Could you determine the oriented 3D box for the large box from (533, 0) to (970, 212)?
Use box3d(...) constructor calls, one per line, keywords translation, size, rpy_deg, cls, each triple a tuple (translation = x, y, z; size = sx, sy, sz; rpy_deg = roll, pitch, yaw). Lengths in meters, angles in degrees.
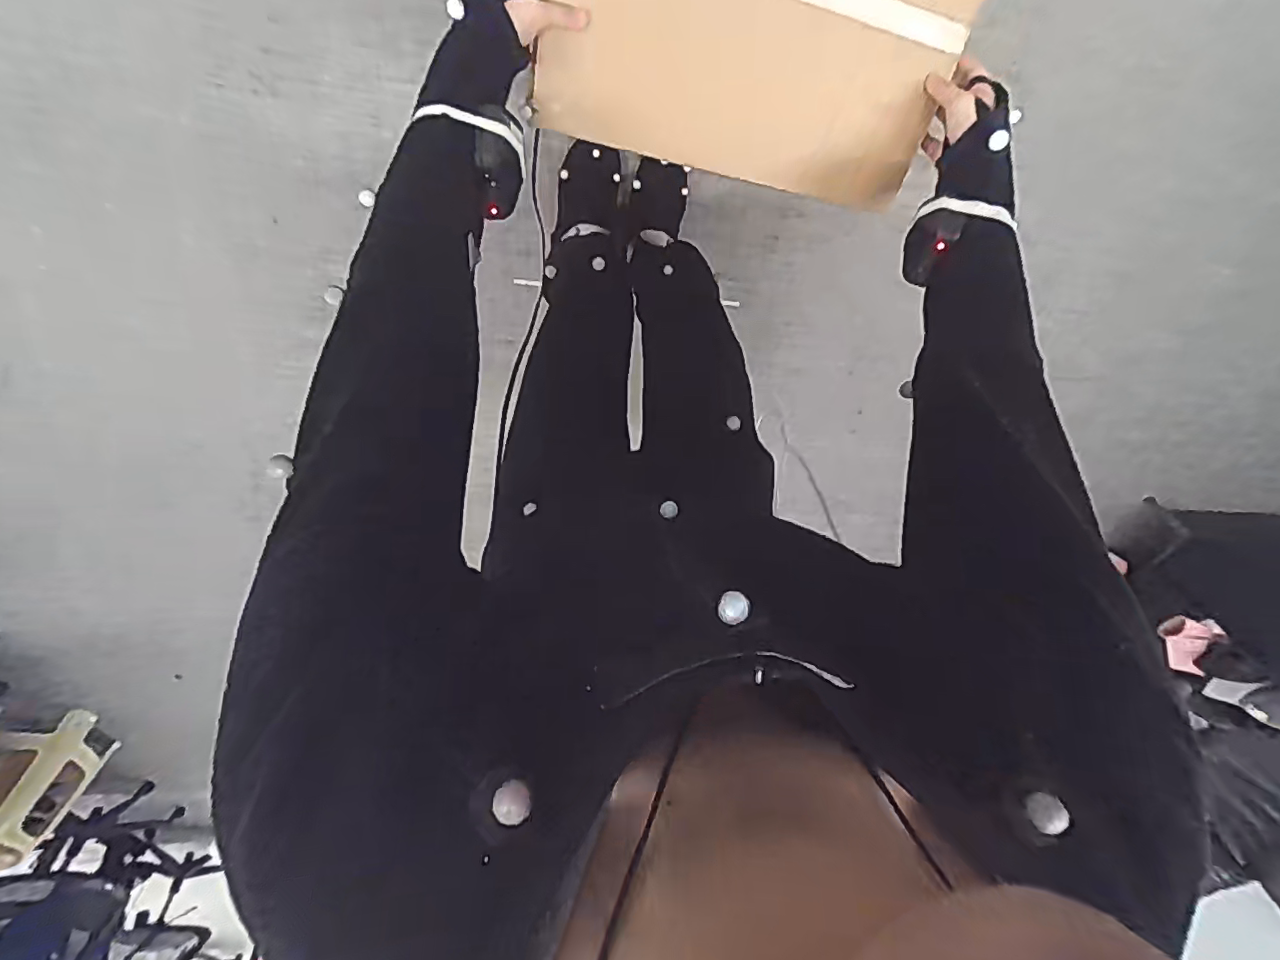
box3d(translation=(0.101, -0.543, 0.620), size=(0.408, 0.320, 0.320), rpy_deg=(7, 125, -14), cls="large box")
